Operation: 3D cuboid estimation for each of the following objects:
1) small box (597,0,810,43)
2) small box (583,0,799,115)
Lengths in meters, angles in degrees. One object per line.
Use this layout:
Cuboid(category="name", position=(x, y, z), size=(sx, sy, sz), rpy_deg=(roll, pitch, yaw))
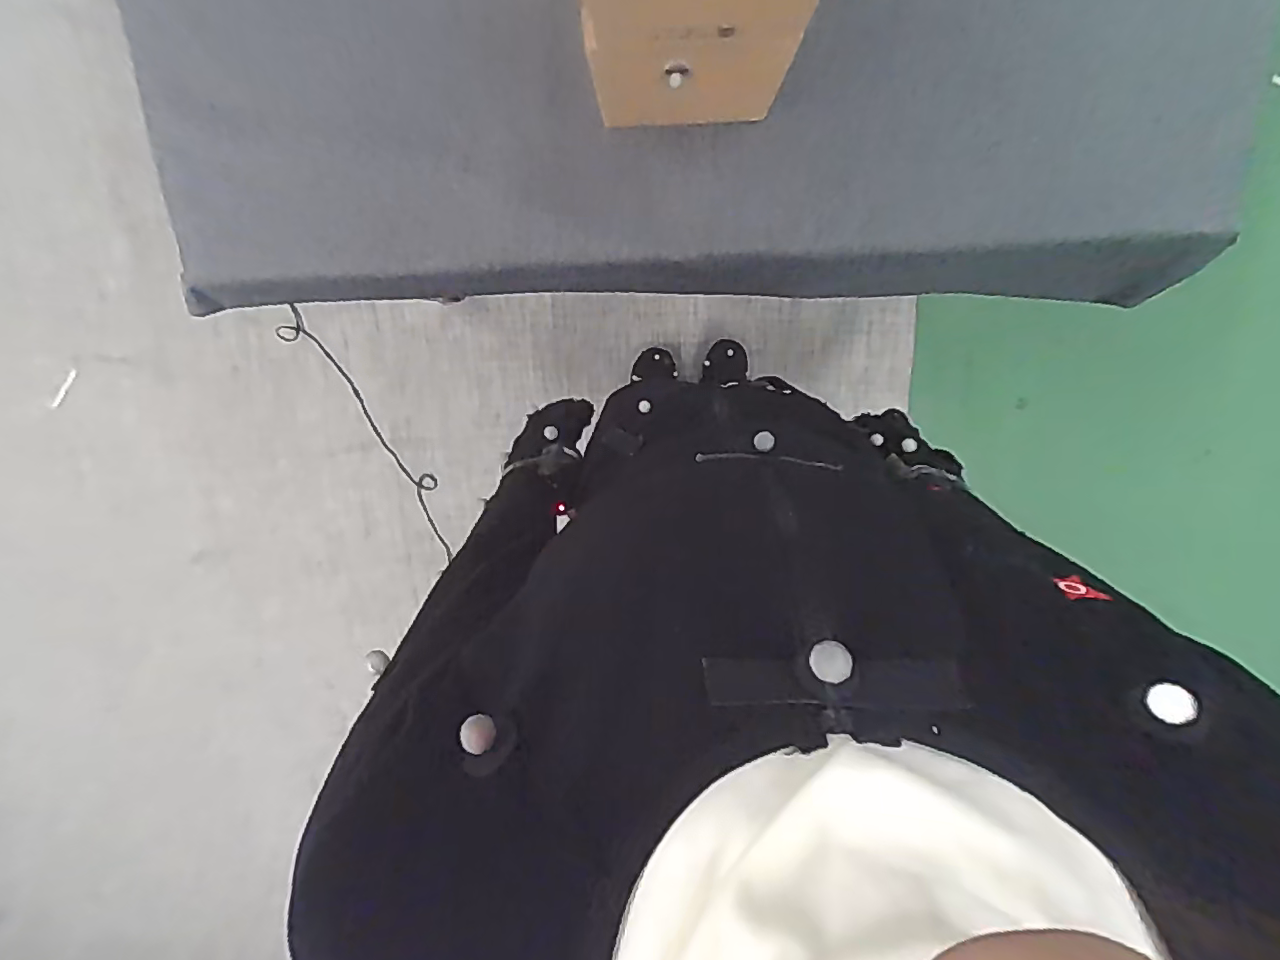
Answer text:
Cuboid(category="small box", position=(0.042, -0.422, 0.339), size=(0.168, 0.176, 0.179), rpy_deg=(-3, 105, 2))
Cuboid(category="small box", position=(0.043, -0.459, 0.495), size=(0.179, 0.176, 0.168), rpy_deg=(-1, 105, 2))
